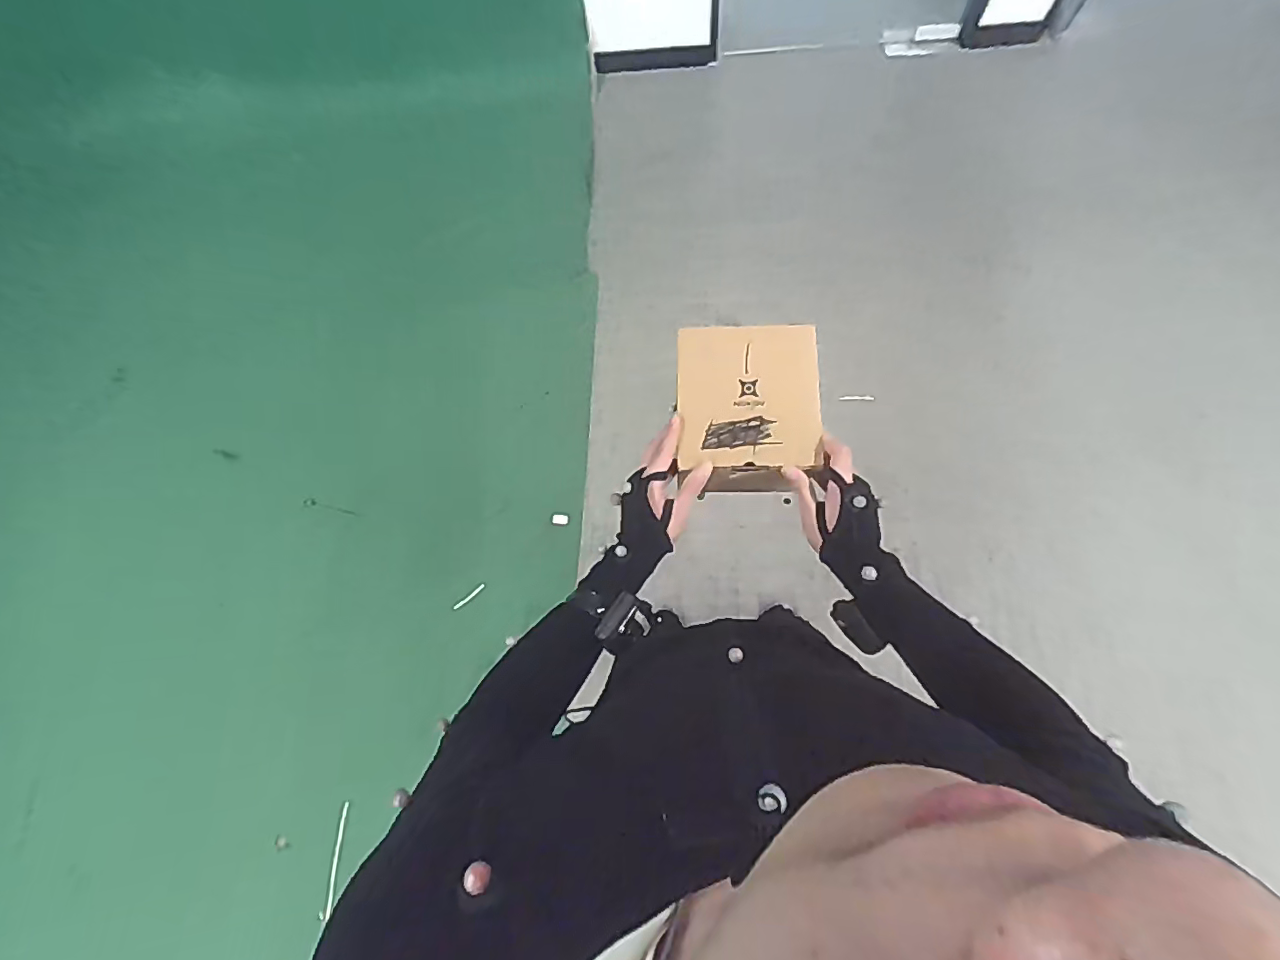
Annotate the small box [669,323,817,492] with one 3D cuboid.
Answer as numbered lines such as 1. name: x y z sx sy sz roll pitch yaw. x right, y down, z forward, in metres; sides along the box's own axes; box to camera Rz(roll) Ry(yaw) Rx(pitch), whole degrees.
1. small box: 0.123 -0.081 0.691 0.168 0.176 0.179 0 79 4
